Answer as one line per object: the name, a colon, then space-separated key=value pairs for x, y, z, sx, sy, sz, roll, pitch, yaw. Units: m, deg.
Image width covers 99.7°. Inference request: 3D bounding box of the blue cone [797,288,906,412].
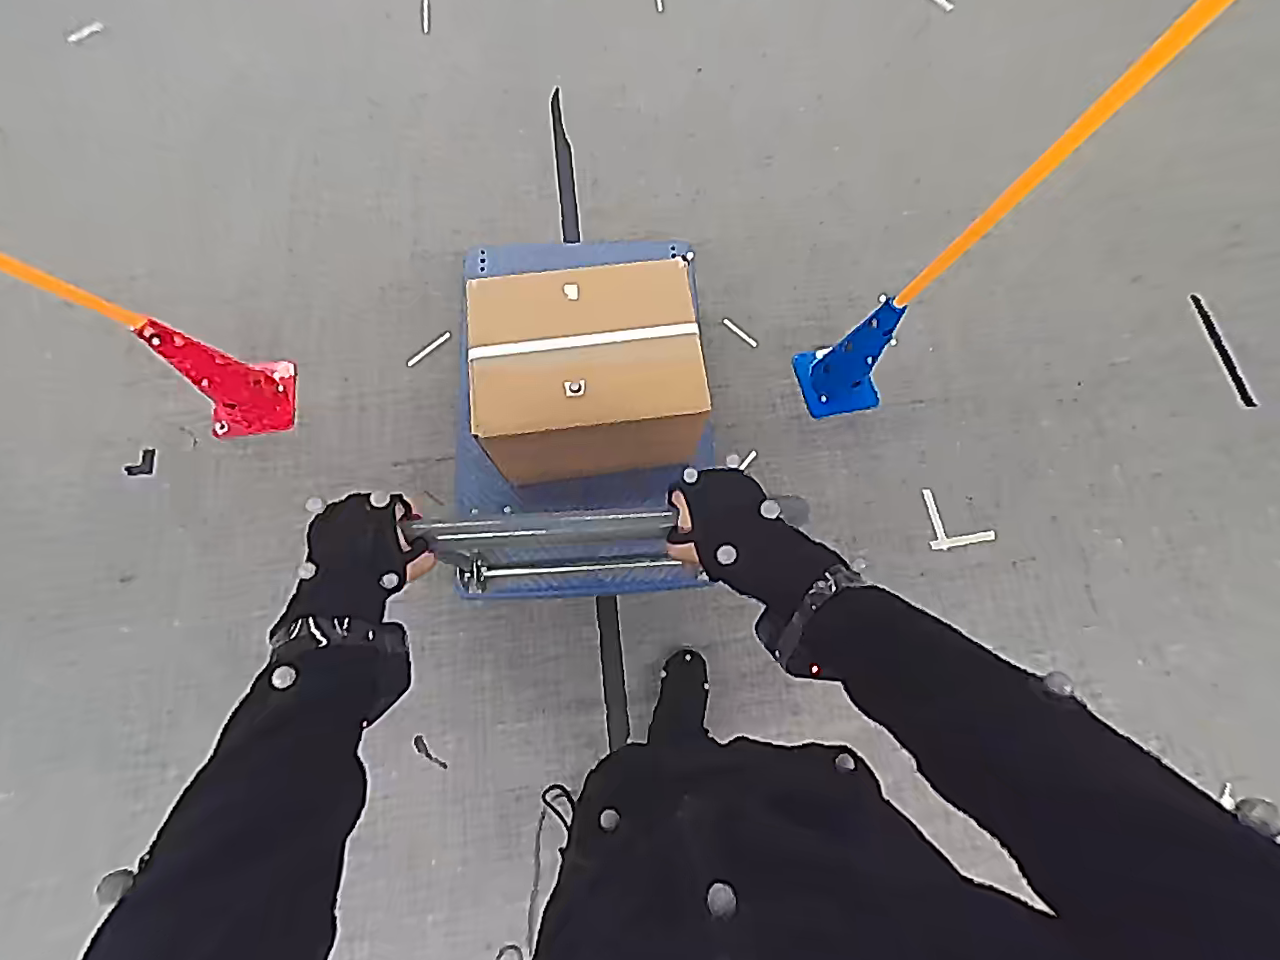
blue cone: x=0.547 y=-0.330 z=1.326 sx=0.193 sy=0.380 sz=0.192 roll=-10 pitch=73 yaw=-6
